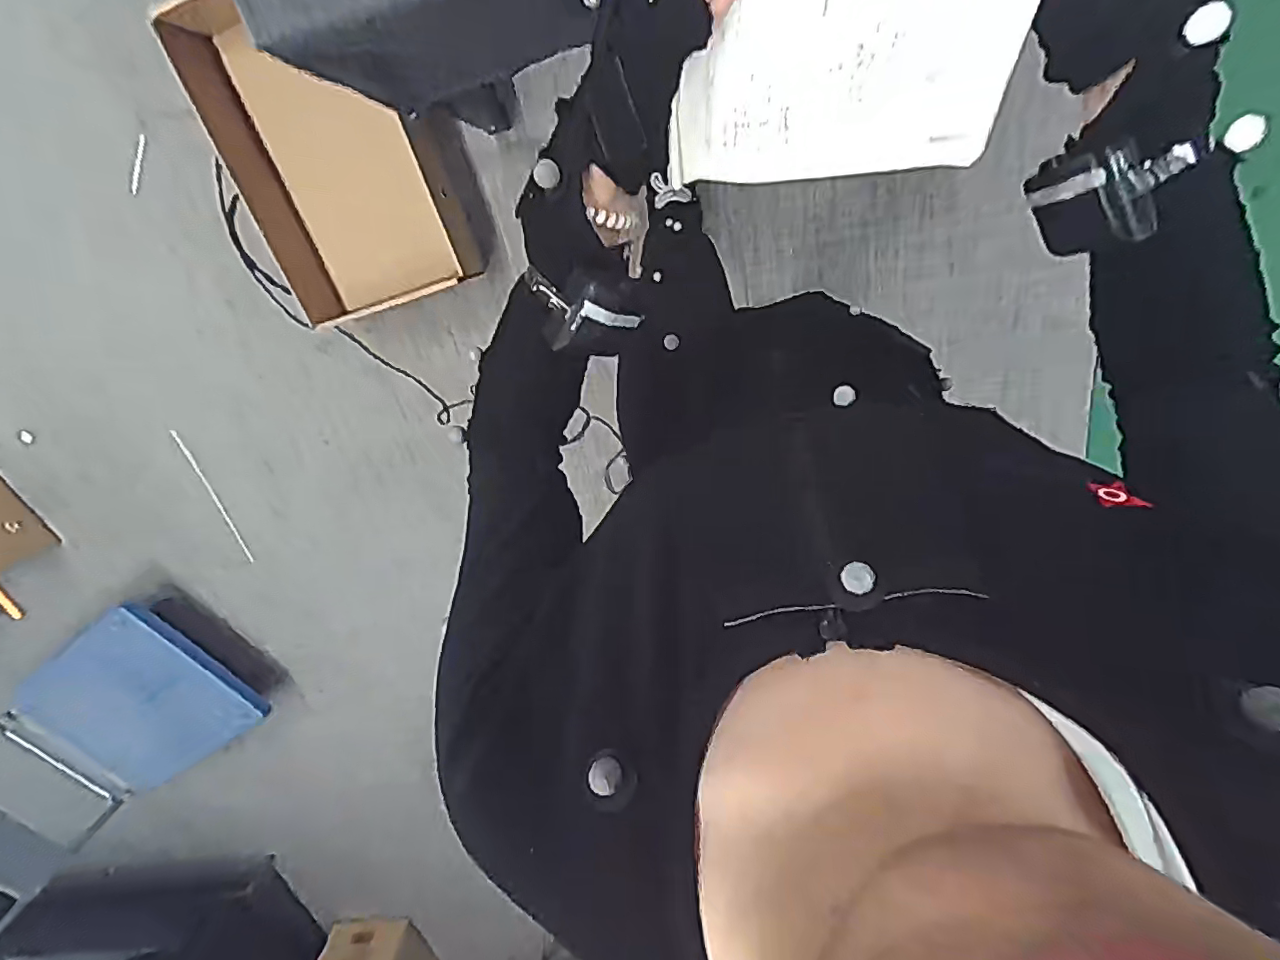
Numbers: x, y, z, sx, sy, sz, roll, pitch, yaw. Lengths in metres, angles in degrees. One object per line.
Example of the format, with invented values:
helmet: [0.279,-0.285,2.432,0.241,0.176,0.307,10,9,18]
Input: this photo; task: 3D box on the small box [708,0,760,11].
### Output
small box: [0.102,-0.405,0.309,0.168,0.176,0.179,-7,129,15]

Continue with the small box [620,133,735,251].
small box: [0.077,-0.627,1.185,0.179,0.176,0.168,40,125,4]
